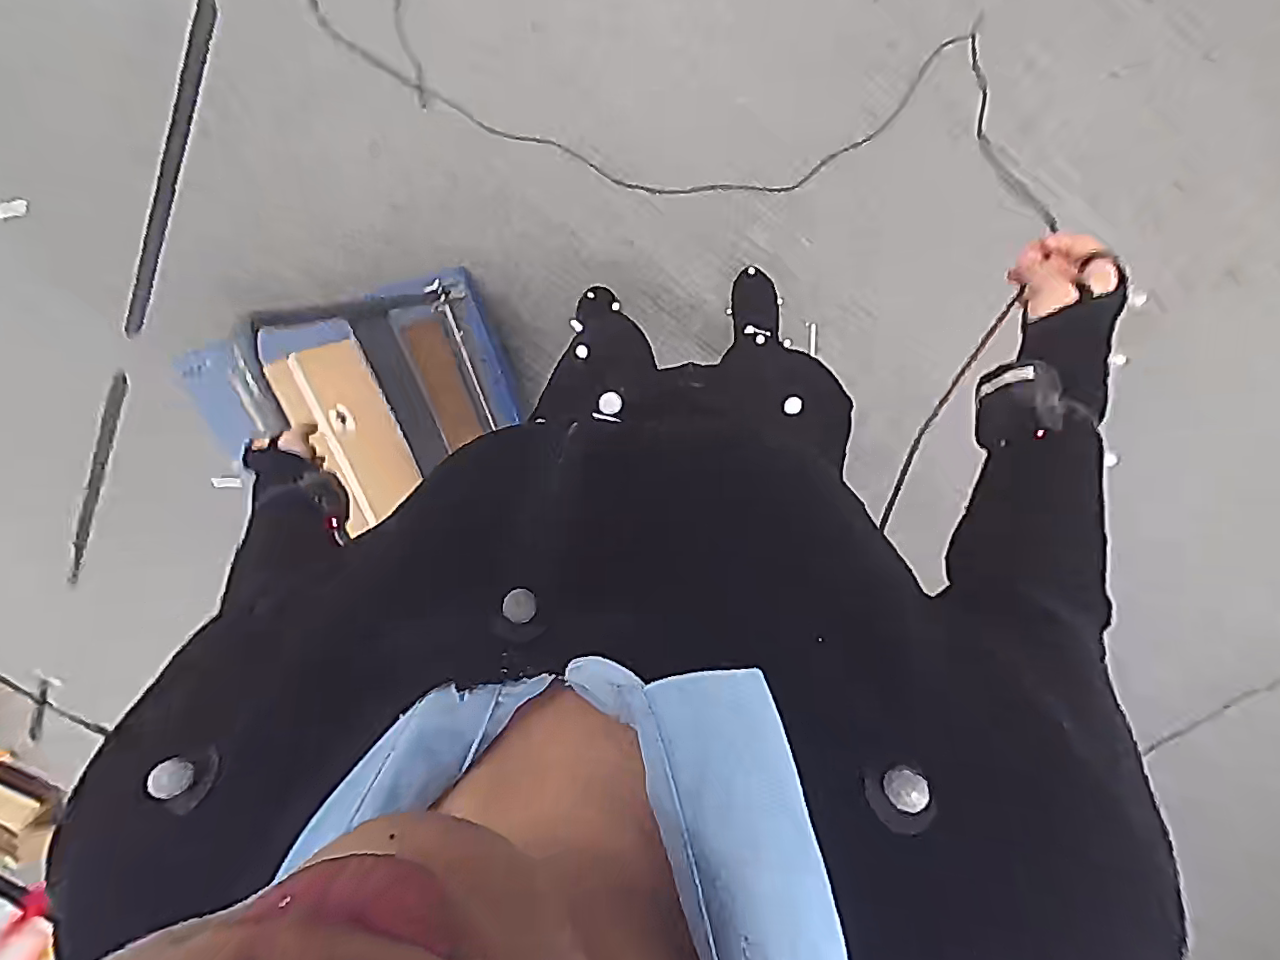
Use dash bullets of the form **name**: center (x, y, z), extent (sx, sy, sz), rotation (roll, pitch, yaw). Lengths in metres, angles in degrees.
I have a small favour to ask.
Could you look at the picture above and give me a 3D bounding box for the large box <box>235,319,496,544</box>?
- **large box**: center (-0.587, -0.118, 1.238), extent (0.320, 0.320, 0.408), rotation (-11, 111, 12)
